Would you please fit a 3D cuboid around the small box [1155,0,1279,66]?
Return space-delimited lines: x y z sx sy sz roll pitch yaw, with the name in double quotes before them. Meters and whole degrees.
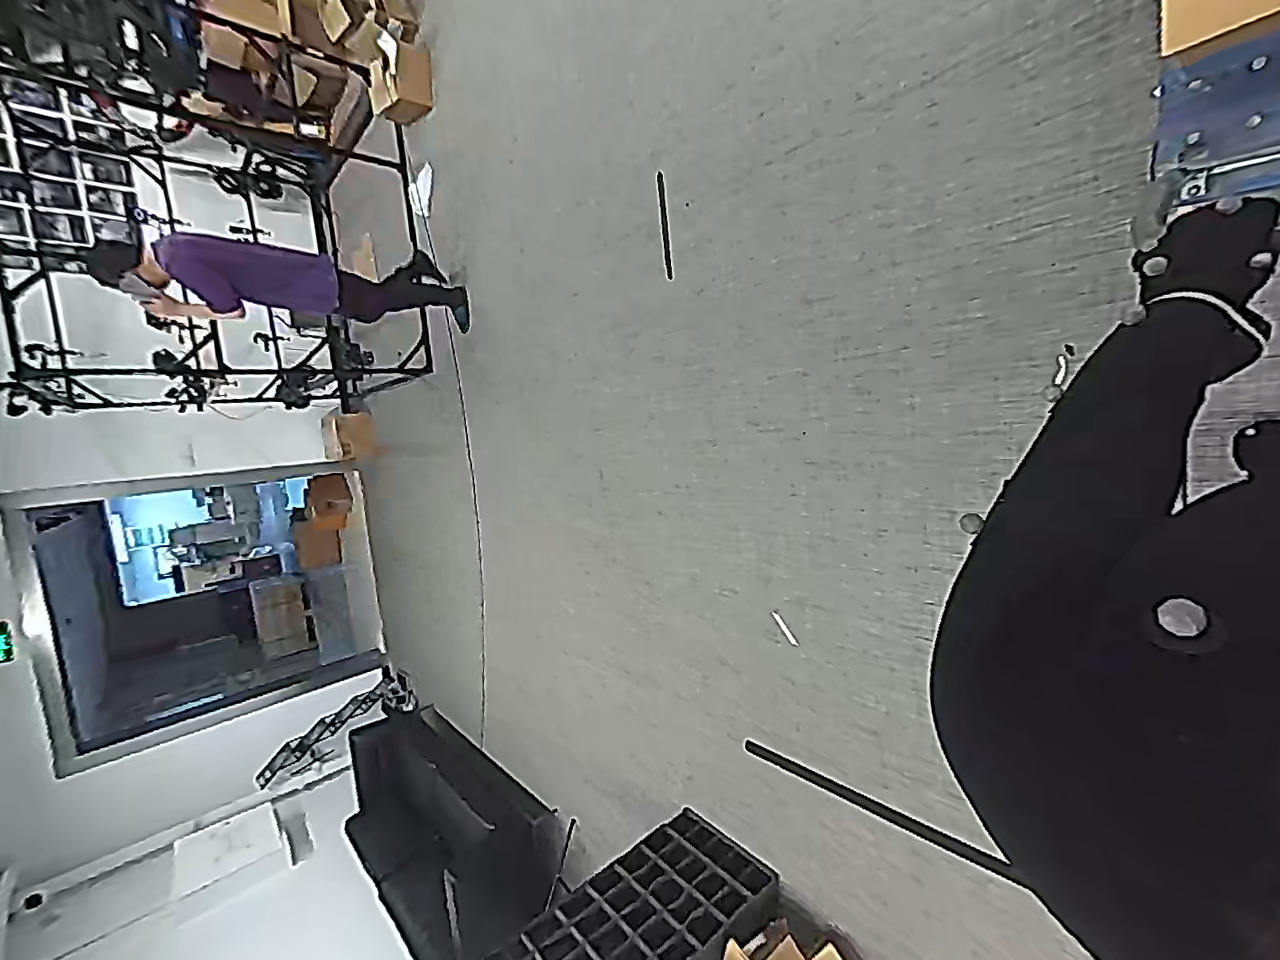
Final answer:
"small box" 0.863 -0.726 0.767 0.179 0.176 0.168 3 113 48
